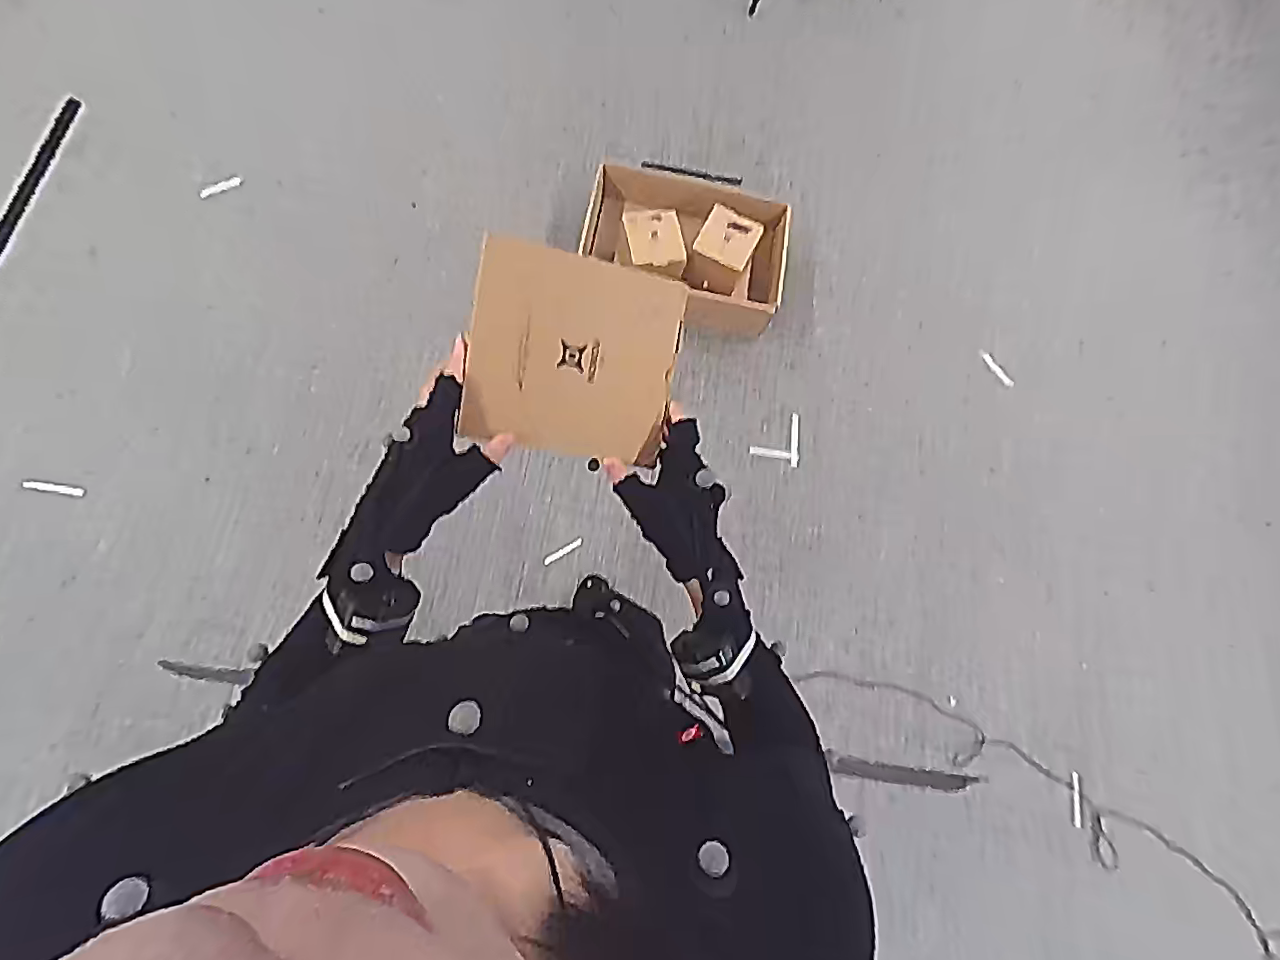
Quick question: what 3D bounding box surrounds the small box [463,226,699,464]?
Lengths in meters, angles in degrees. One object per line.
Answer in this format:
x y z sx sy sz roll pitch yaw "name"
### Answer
-0.064 -0.115 0.521 0.179 0.176 0.168 8 94 -14 "small box"
